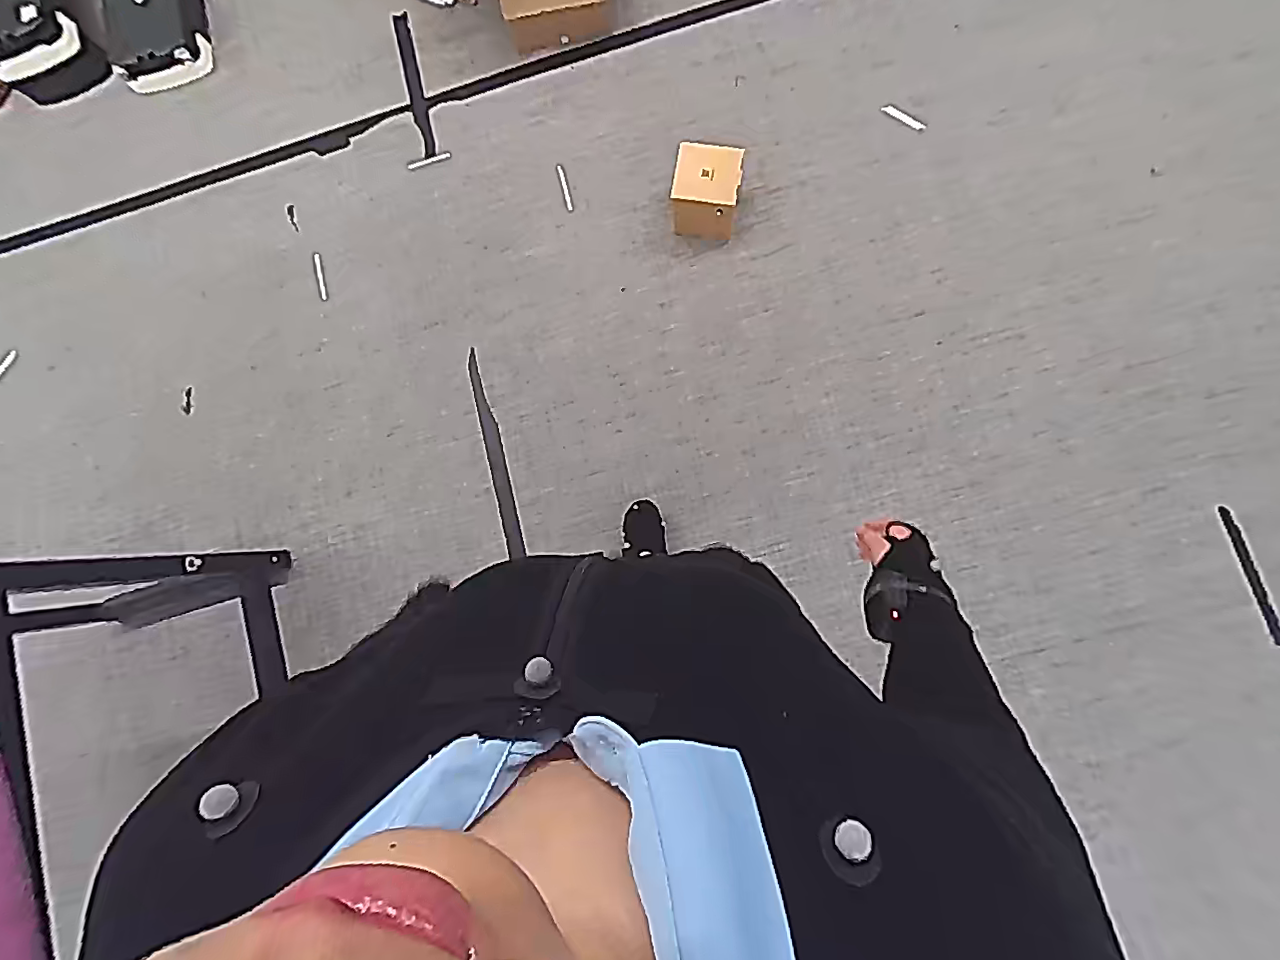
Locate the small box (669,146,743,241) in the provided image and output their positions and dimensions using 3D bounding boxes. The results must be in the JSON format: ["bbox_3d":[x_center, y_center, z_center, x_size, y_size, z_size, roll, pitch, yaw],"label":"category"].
[{"bbox_3d":[0.181,-0.797,1.518,0.179,0.176,0.168,10,84,5],"label":"small box"}]
